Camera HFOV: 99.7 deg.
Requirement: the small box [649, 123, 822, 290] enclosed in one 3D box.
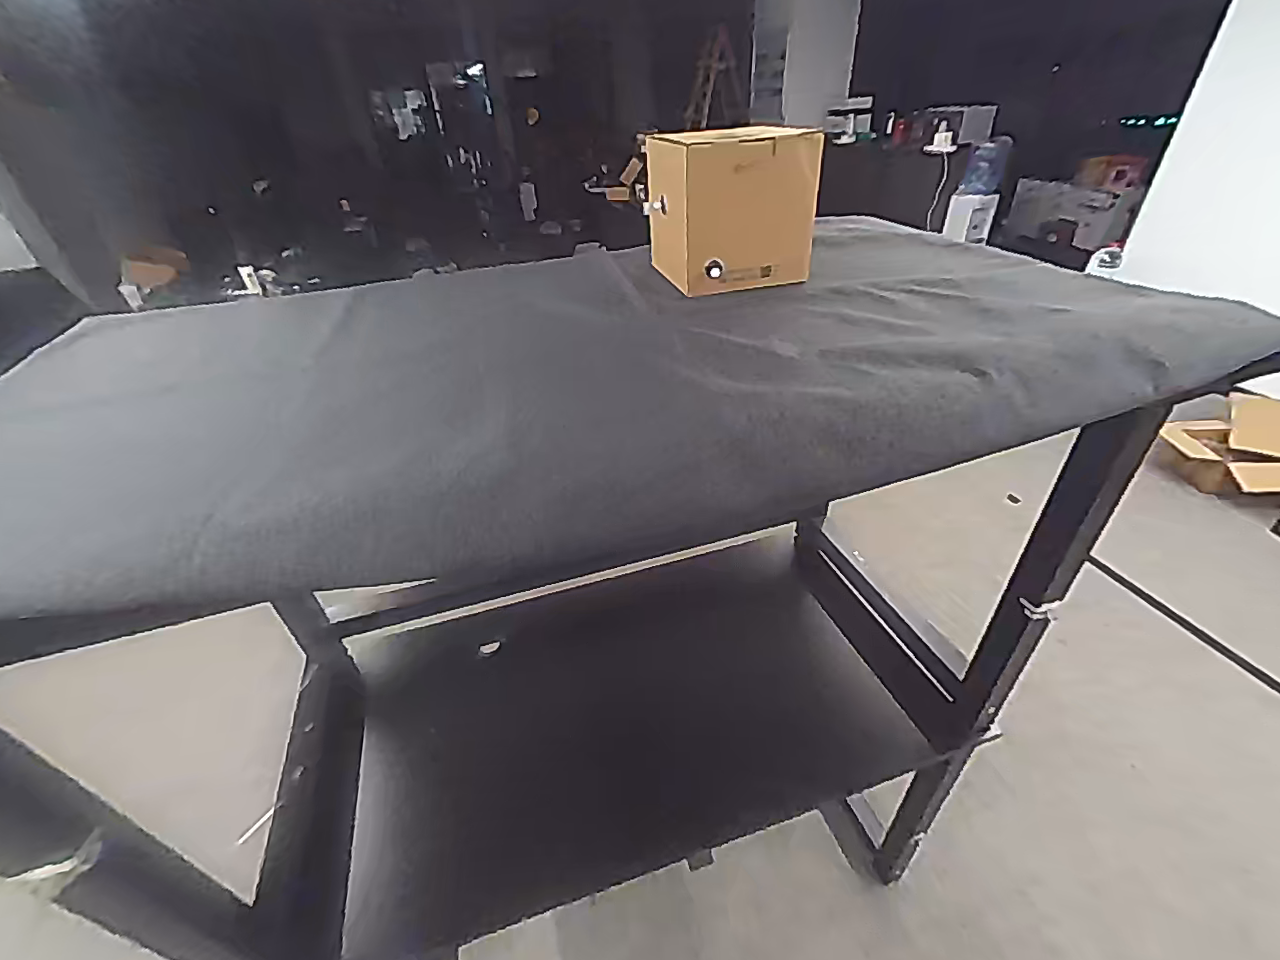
[{"bbox_3d":[0.116,-0.357,0.708,0.168,0.176,0.179,-11,35,-9],"label":"small box"}]
